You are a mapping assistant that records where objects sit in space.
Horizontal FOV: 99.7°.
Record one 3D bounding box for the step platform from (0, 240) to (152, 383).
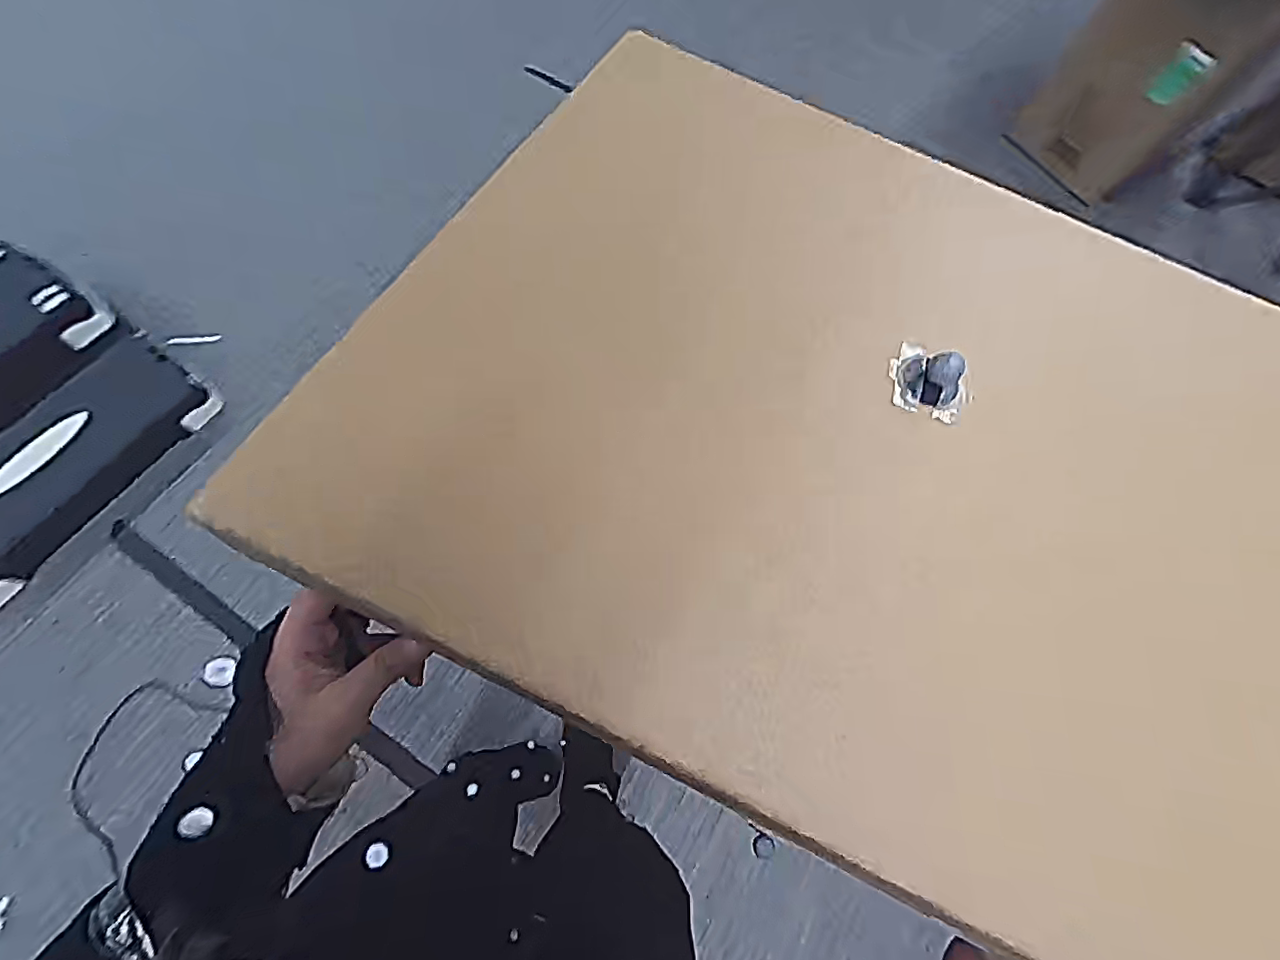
[{"bbox_3d":[-1.570,-0.245,1.247,0.286,0.204,0.684,39,71,9],"label":"step platform"}]
